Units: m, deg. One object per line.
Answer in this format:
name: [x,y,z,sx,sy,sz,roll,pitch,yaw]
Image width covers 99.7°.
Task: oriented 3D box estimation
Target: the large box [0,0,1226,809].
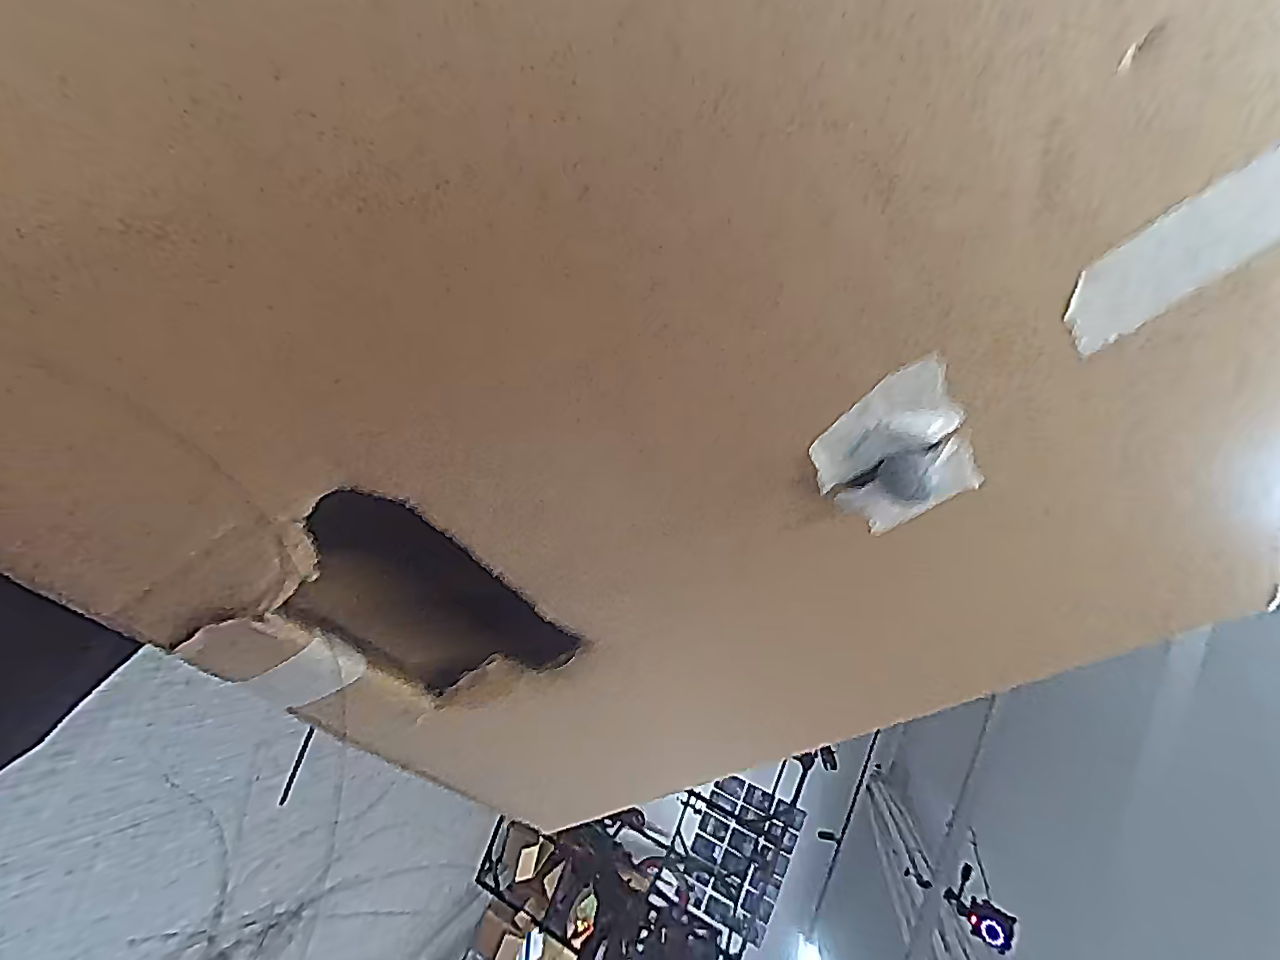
large box: [-0.016,-0.114,0.306,0.320,0.320,0.408,53,21,-32]
